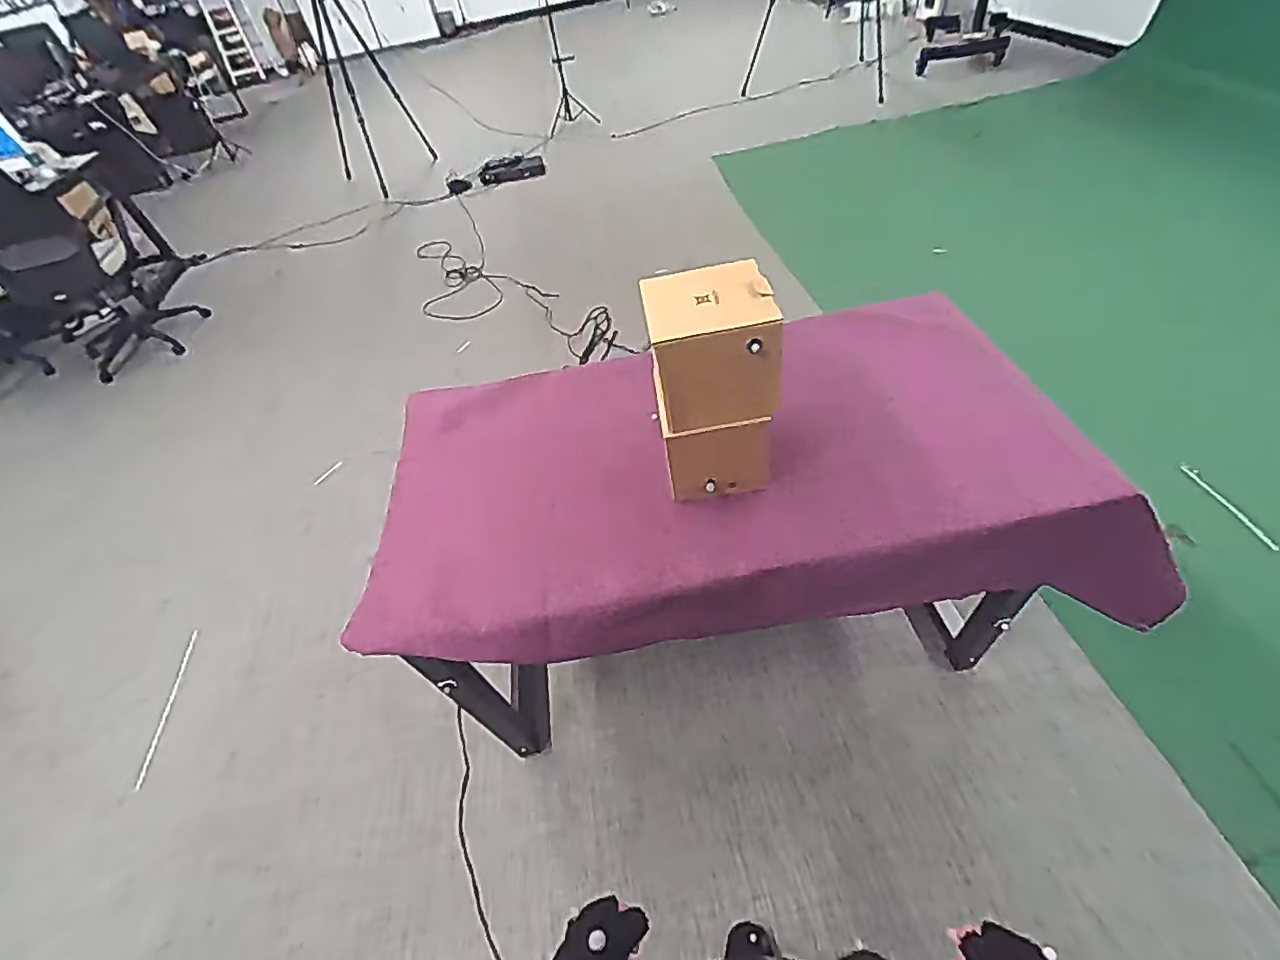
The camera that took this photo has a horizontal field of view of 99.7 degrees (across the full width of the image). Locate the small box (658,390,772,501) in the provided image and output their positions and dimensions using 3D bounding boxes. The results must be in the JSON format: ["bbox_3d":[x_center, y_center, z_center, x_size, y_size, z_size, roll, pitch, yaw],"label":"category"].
[{"bbox_3d":[0.122,-0.089,0.920,0.168,0.176,0.179,-9,49,4],"label":"small box"}]

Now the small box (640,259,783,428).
[{"bbox_3d":[0.104,-0.196,0.800,0.179,0.176,0.168,-10,49,3],"label":"small box"}]
